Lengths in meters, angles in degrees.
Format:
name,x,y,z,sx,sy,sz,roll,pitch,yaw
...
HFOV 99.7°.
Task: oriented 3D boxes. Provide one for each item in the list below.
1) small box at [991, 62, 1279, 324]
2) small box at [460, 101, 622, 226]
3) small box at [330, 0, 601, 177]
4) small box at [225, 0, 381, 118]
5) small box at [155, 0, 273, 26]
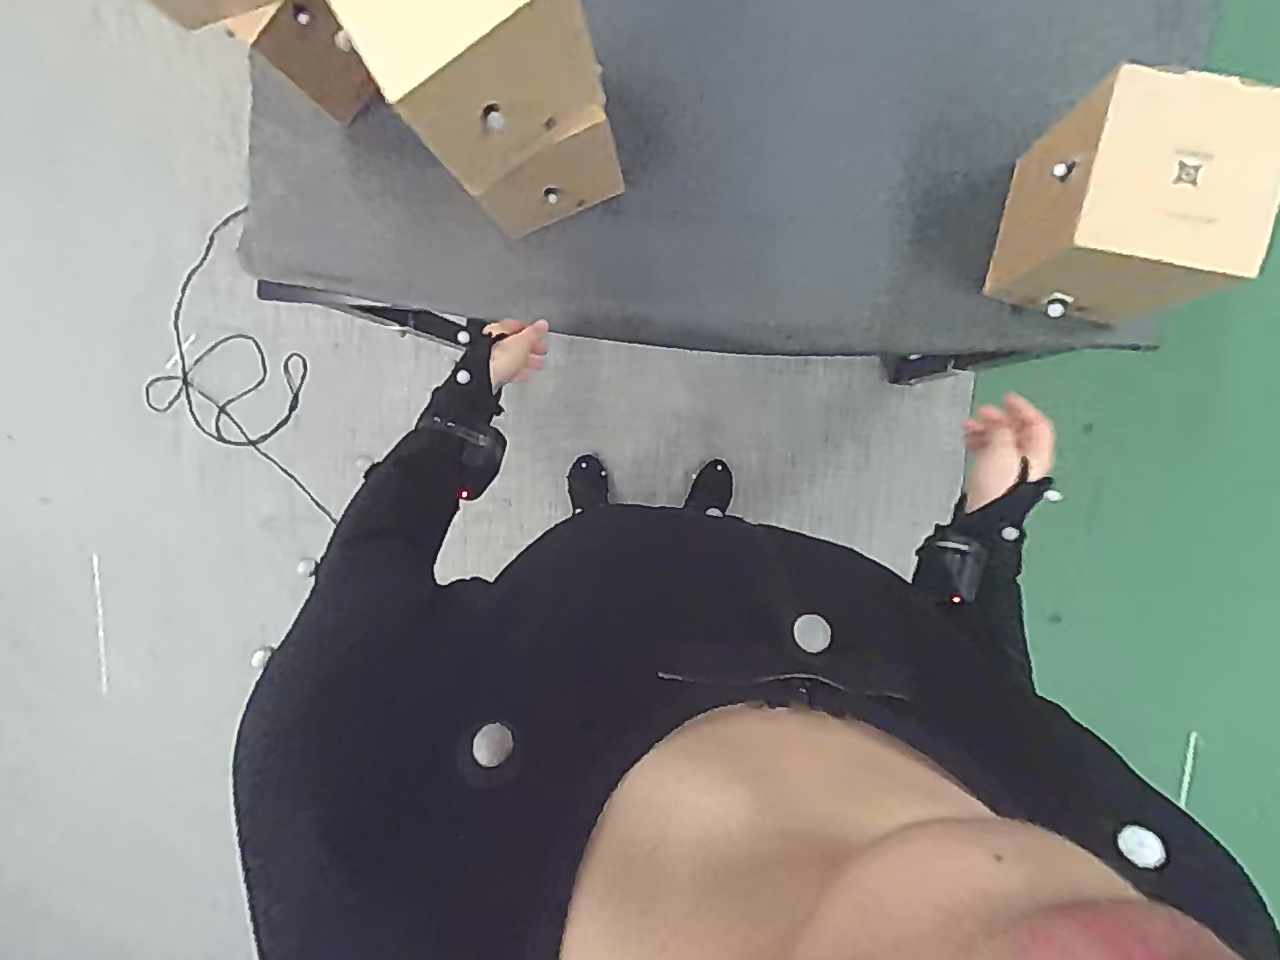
name,x,y,z,sx,sy,sz,roll,pitch,yaw
small box,0.516,-0.288,0.578,0.168,0.176,0.179,14,93,6
small box,-0.130,-0.427,0.638,0.168,0.176,0.179,-20,92,7
small box,-0.153,-0.407,0.478,0.168,0.176,0.179,-31,91,8
small box,-0.413,-0.594,0.652,0.179,0.176,0.168,45,98,0
small box,-0.430,-0.574,0.489,0.179,0.176,0.168,-13,95,7
